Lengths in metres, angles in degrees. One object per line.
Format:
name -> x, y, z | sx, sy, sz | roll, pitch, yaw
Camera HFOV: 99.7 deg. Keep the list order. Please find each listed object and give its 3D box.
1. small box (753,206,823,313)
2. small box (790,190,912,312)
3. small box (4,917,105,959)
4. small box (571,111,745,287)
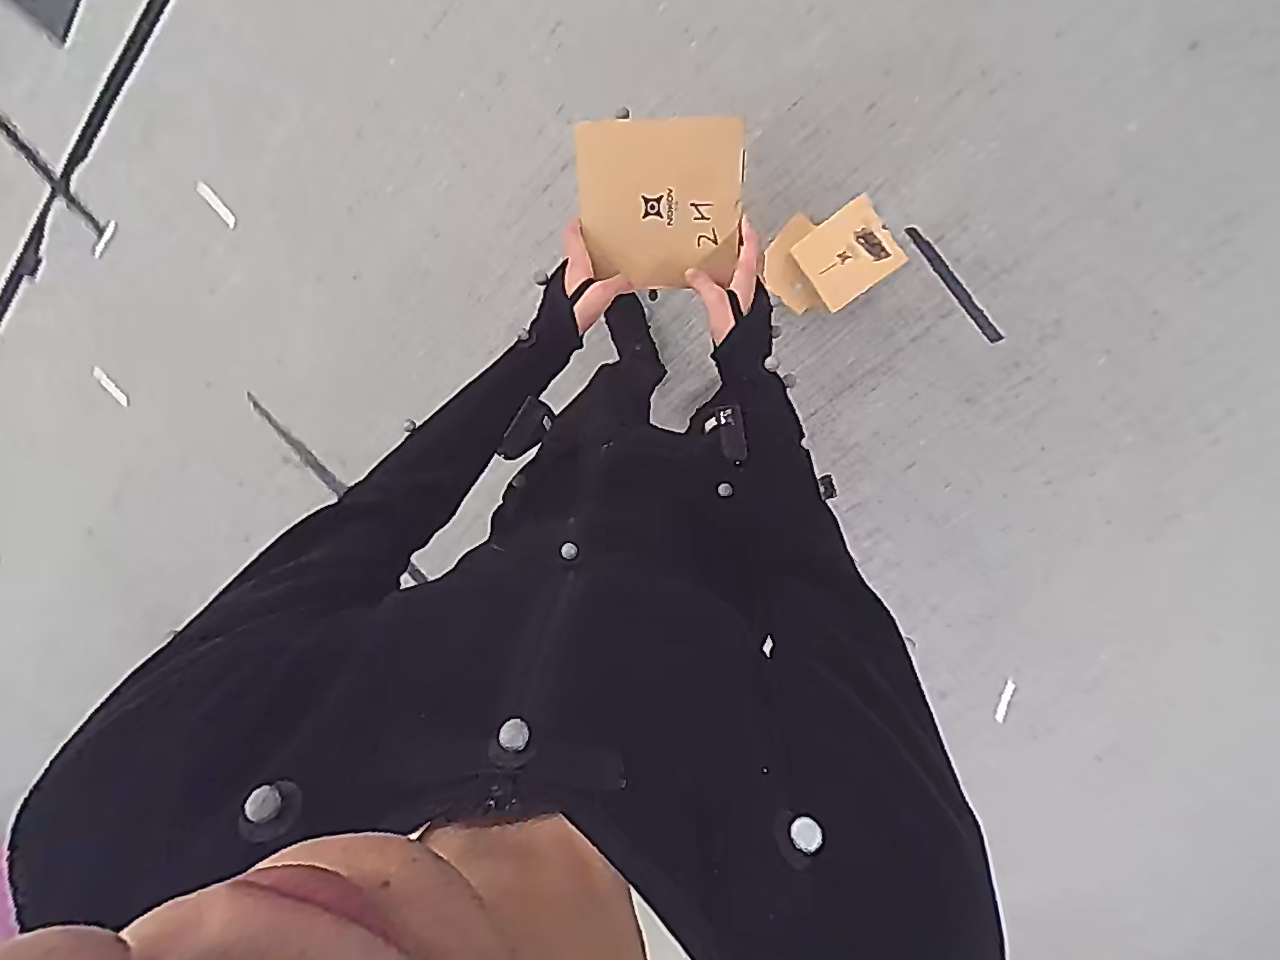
small box -> 0.393, -0.534, 1.334 | 0.168, 0.176, 0.179 | 40, 109, -2
small box -> 0.443, -0.483, 1.168 | 0.179, 0.176, 0.168 | -34, 97, 18
small box -> -1.684, 1.377, 1.518 | 0.168, 0.176, 0.179 | -41, 95, 19
small box -> 0.025, -0.319, 0.640 | 0.179, 0.176, 0.168 | 0, 114, 4
